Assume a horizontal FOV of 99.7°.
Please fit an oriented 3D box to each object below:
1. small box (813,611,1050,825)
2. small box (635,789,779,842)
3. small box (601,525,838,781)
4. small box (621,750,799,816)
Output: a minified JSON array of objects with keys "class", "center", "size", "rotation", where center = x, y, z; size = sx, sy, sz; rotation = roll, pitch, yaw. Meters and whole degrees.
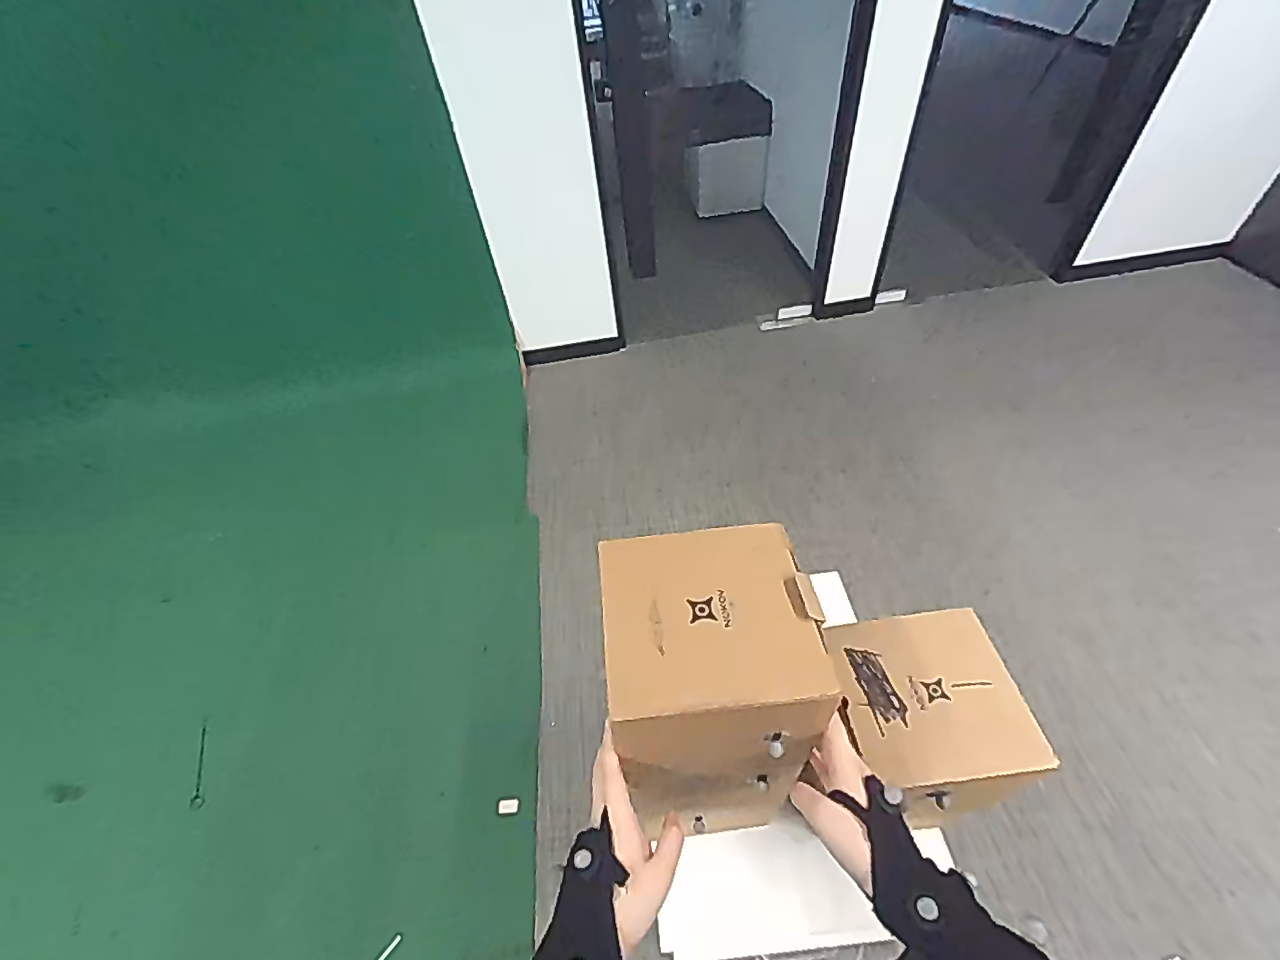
[{"class":"small box","center":[0.294,0.271,0.608],"size":[0.179,0.176,0.168],"rotation":[-8,47,0]},{"class":"small box","center":[0.079,0.385,0.753],"size":[0.179,0.176,0.168],"rotation":[-7,47,-2]},{"class":"small box","center":[0.060,0.165,0.512],"size":[0.179,0.176,0.168],"rotation":[-7,45,-2]},{"class":"small box","center":[0.067,0.276,0.631],"size":[0.179,0.176,0.168],"rotation":[-5,47,-2]}]
